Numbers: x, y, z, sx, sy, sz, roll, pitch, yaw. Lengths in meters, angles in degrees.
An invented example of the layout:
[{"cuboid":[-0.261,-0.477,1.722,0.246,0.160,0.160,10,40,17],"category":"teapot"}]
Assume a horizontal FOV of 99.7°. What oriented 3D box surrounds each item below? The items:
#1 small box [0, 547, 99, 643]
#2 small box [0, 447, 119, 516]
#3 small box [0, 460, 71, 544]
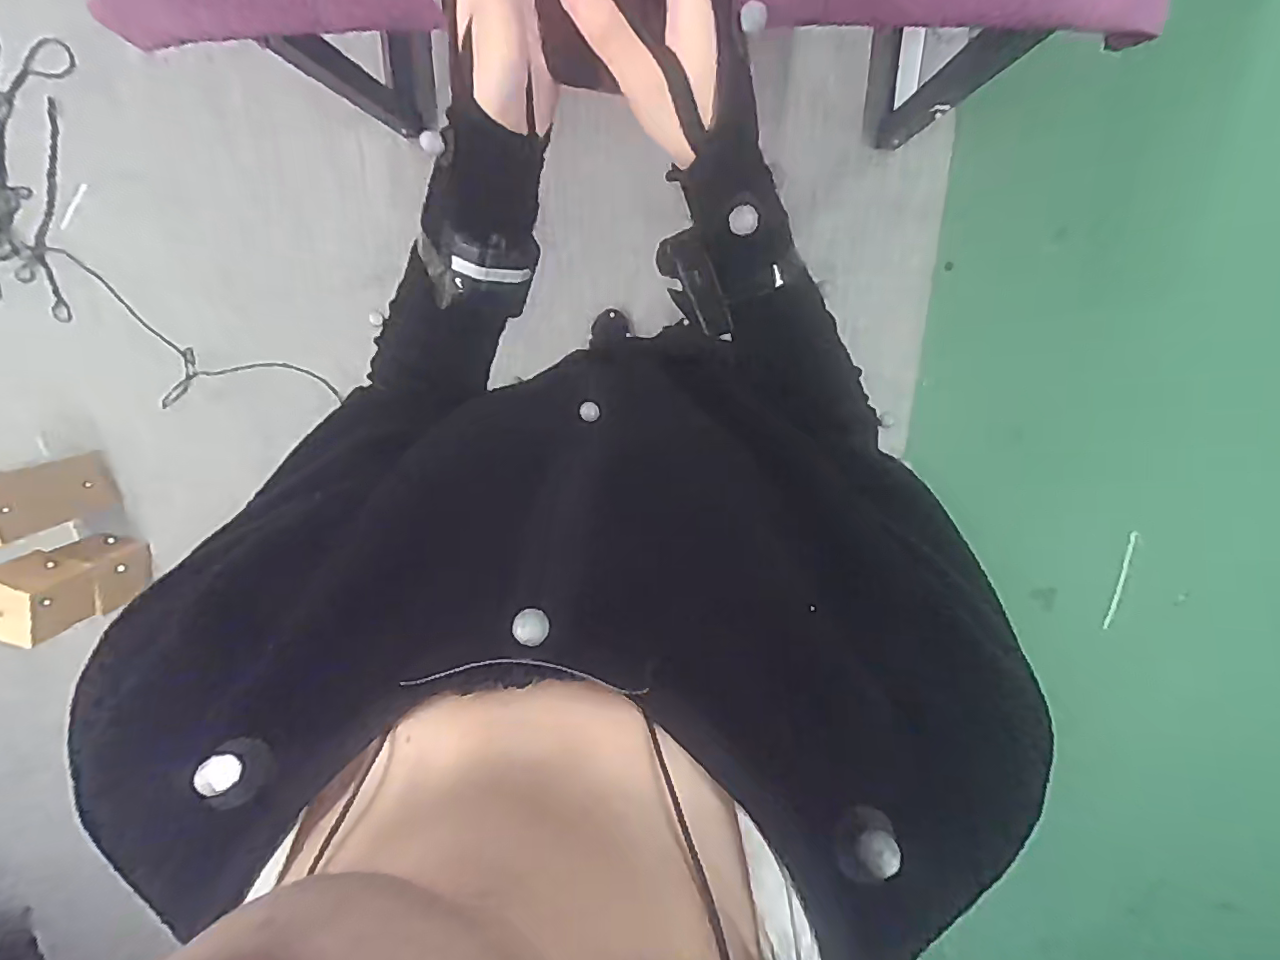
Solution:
[{"cuboid":[-1.652,0.311,1.489,0.168,0.176,0.179,17,107,-1],"category":"small box"},{"cuboid":[-1.672,0.007,1.562,0.179,0.176,0.168,-6,107,6],"category":"small box"},{"cuboid":[-1.668,0.063,1.408,0.168,0.176,0.179,-10,107,6],"category":"small box"}]
